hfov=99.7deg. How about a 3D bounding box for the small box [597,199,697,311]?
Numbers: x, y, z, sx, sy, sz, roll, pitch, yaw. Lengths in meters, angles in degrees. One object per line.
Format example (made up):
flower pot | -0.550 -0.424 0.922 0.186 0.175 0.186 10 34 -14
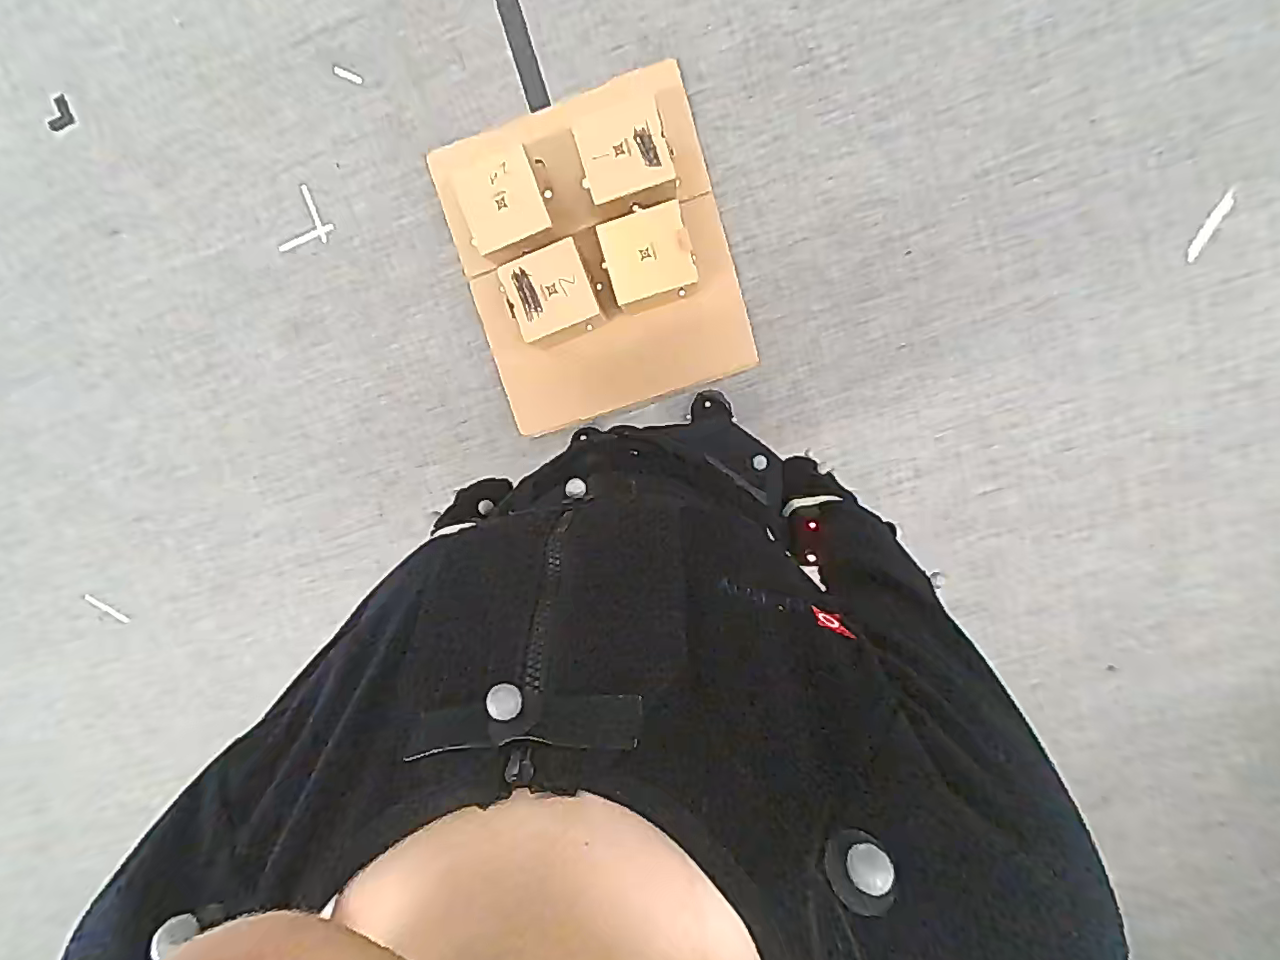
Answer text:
small box | 0.020 -0.480 1.182 0.179 0.176 0.168 -15 98 5

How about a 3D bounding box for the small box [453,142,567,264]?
small box | -0.275 -0.593 1.189 0.168 0.176 0.179 -18 98 7

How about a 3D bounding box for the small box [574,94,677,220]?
small box | -0.024 -0.674 1.156 0.179 0.176 0.168 -15 99 7
